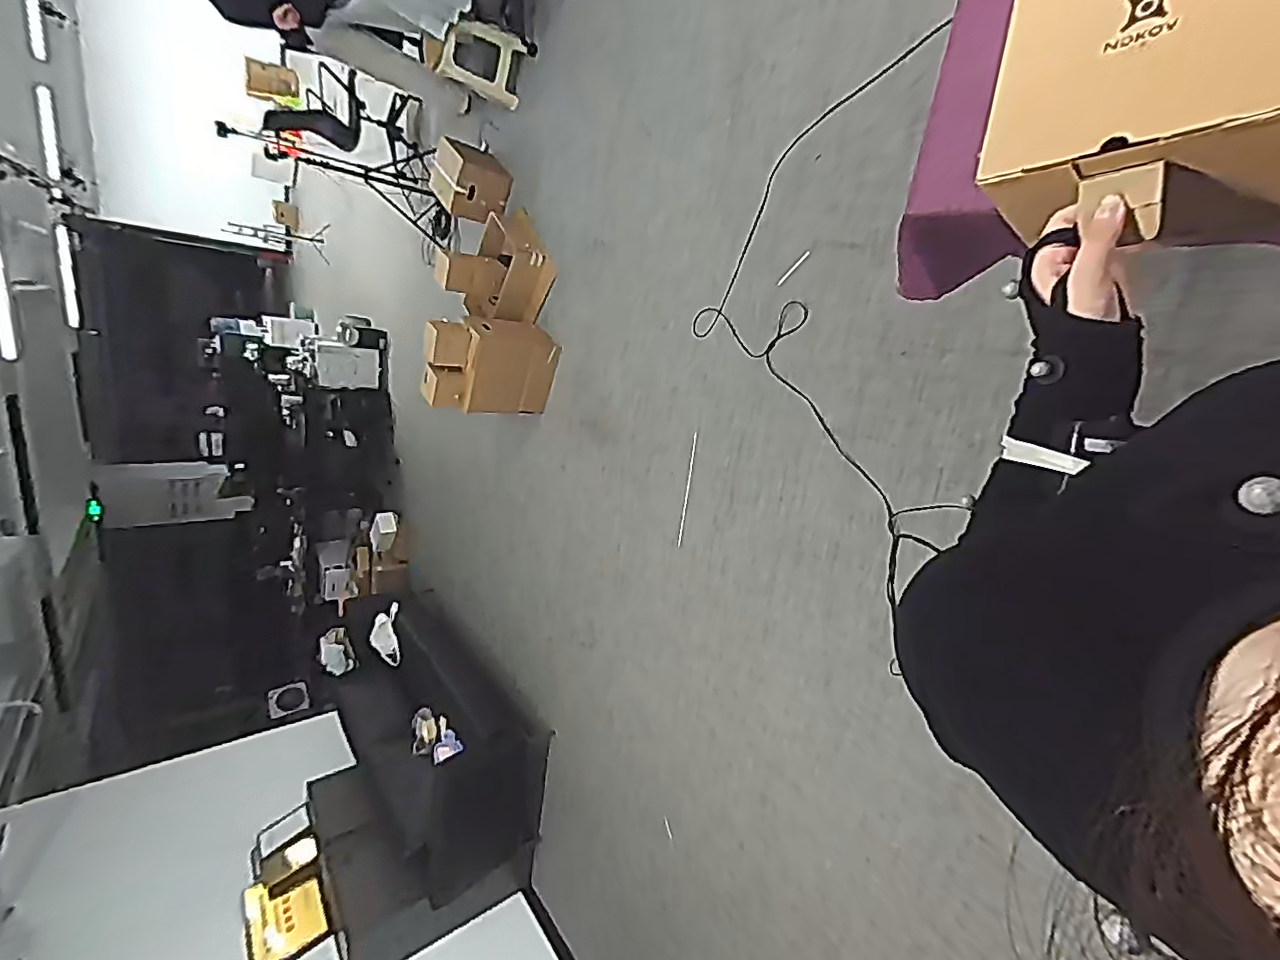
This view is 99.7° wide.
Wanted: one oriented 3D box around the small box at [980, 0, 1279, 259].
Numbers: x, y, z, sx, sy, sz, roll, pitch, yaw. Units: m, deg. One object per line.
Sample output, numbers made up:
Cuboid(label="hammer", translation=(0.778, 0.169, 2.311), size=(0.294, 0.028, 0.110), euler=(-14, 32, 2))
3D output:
Cuboid(label="small box", translation=(0.397, -0.296, 0.414), size=(0.168, 0.176, 0.179), euler=(15, 96, 51))
